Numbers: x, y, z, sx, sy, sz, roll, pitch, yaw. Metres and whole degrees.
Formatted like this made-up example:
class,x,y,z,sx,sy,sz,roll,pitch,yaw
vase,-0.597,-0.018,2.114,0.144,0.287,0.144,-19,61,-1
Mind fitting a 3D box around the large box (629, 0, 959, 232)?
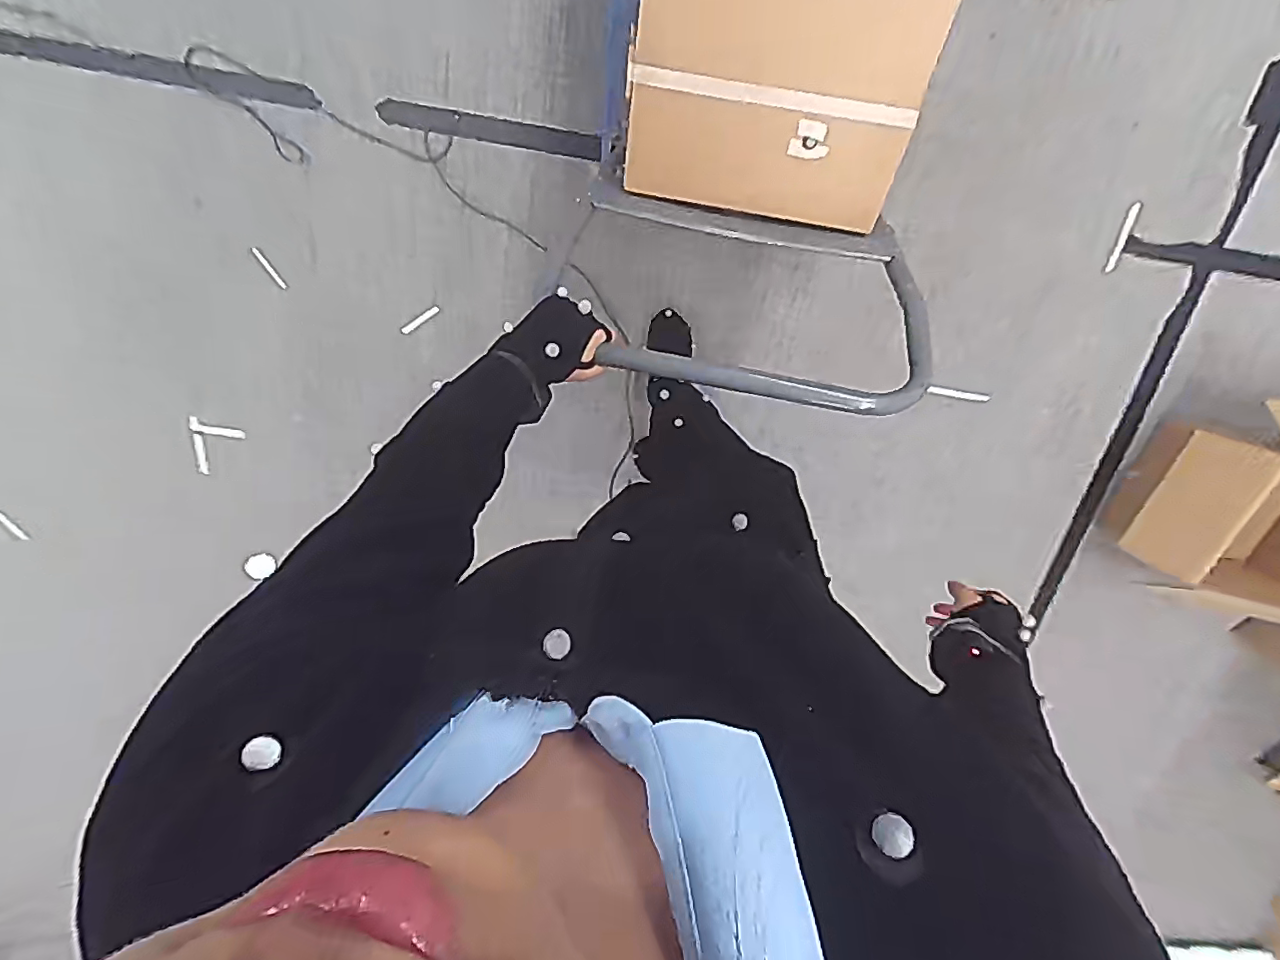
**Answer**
class,x,y,z,sx,sy,sz,roll,pitch,yaw
large box,0.210,-0.639,0.883,0.408,0.320,0.320,11,132,1
